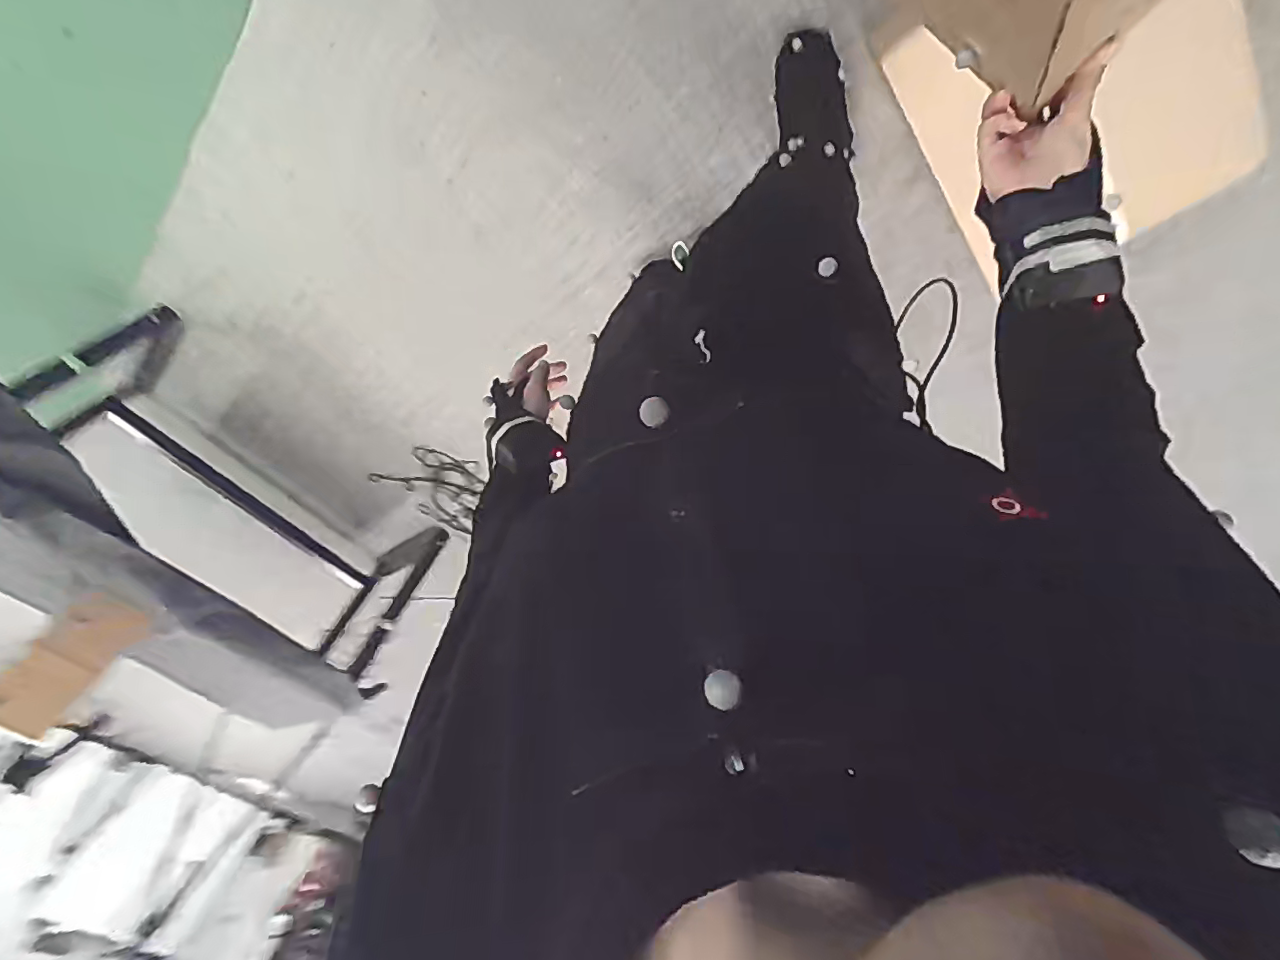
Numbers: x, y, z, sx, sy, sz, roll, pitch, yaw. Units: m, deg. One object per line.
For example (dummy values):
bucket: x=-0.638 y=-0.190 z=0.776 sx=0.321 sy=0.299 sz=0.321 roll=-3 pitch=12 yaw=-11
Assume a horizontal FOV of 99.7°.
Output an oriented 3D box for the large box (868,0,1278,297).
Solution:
large box: x=0.582 y=-0.565 z=0.783 sx=0.320 sy=0.320 sz=0.408 roll=-27 pitch=120 yaw=36

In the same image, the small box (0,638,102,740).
small box: x=-1.474 y=0.507 z=1.309 sx=0.168 sy=0.176 sz=0.179 roll=-22 pitch=121 yaw=35

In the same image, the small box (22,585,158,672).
small box: x=-1.437 y=0.392 z=1.417 sx=0.168 sy=0.176 sz=0.179 roll=-24 pitch=122 yaw=36
